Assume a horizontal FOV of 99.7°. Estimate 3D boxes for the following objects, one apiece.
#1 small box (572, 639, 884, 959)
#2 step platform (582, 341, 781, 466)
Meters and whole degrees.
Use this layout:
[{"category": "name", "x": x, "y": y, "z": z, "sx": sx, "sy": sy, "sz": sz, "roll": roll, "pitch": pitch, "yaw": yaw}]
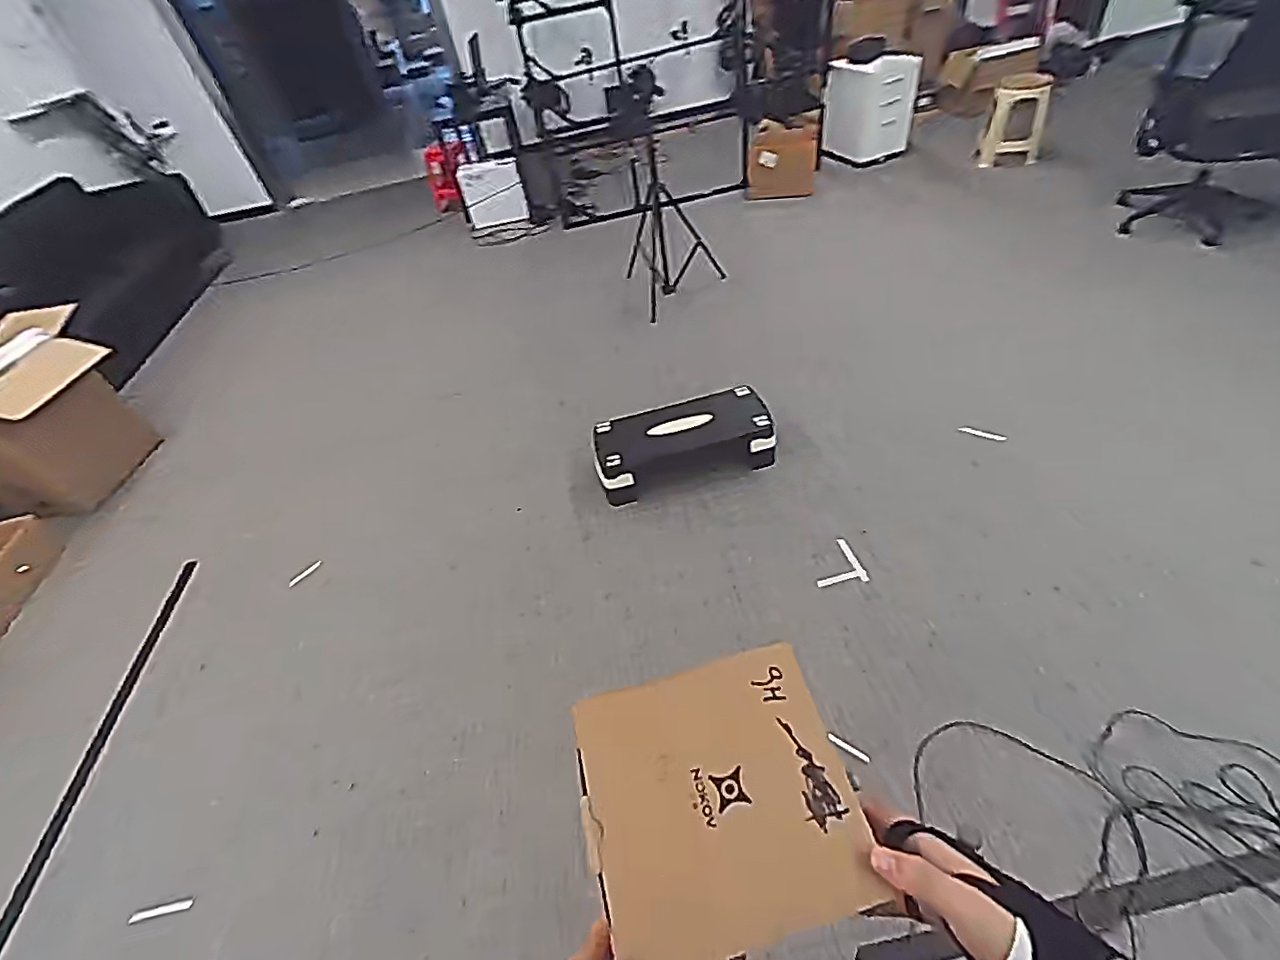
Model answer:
[{"category": "small box", "x": 0.058, "y": 0.255, "z": 0.437, "sx": 0.179, "sy": 0.176, "sz": 0.168, "roll": -15, "pitch": 55, "yaw": -5}, {"category": "step platform", "x": 0.145, "y": -0.272, "z": 1.935, "sx": 0.684, "sy": 0.204, "sz": 0.286, "roll": -15, "pitch": 44, "yaw": -3}]
